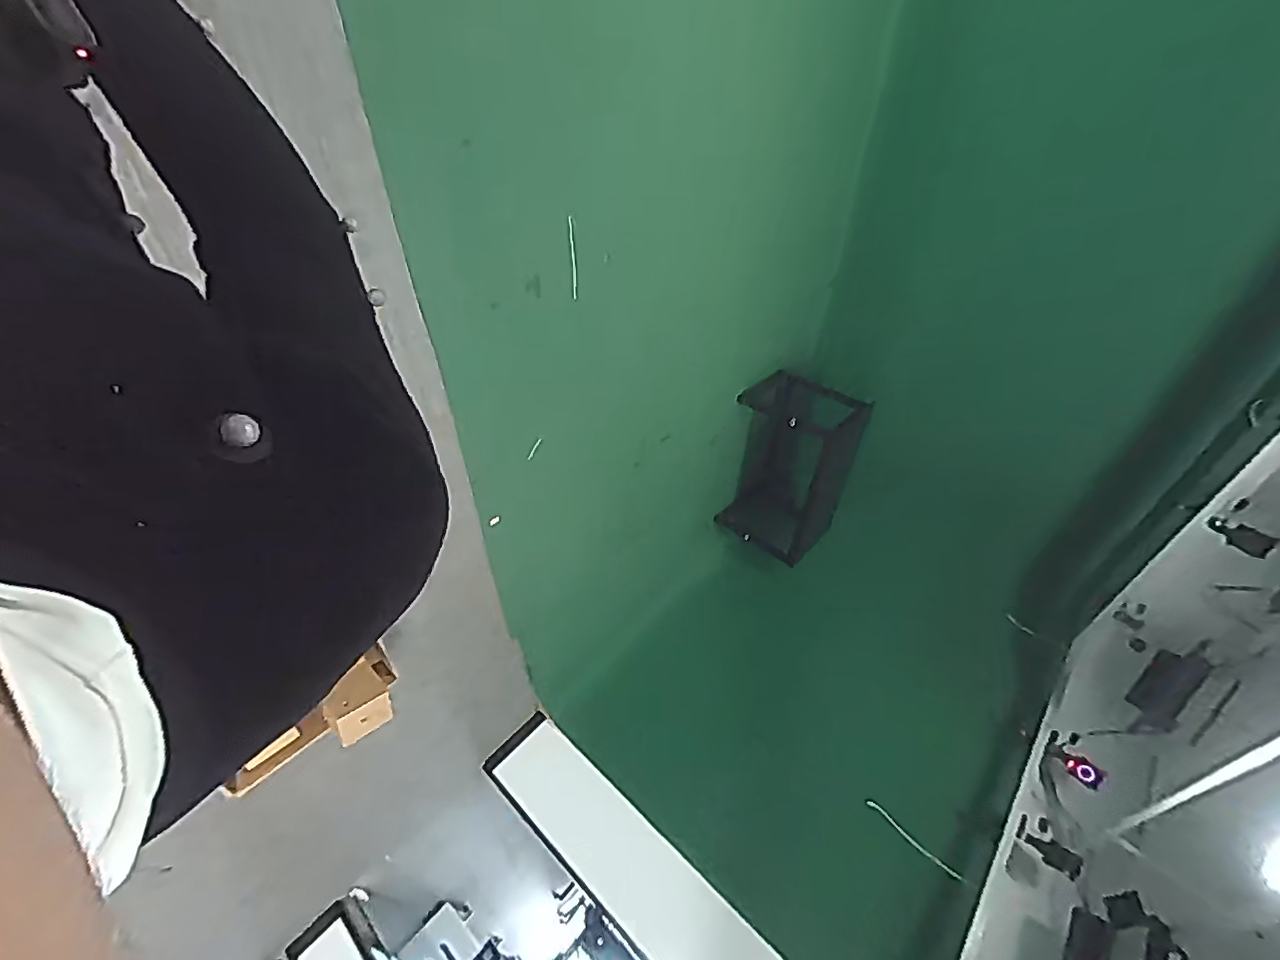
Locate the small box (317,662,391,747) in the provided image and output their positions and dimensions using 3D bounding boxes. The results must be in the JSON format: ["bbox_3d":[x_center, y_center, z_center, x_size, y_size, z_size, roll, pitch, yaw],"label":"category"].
[{"bbox_3d":[-1.005,0.781,1.893,0.179,0.176,0.168,-26,138,-42],"label":"small box"}]
